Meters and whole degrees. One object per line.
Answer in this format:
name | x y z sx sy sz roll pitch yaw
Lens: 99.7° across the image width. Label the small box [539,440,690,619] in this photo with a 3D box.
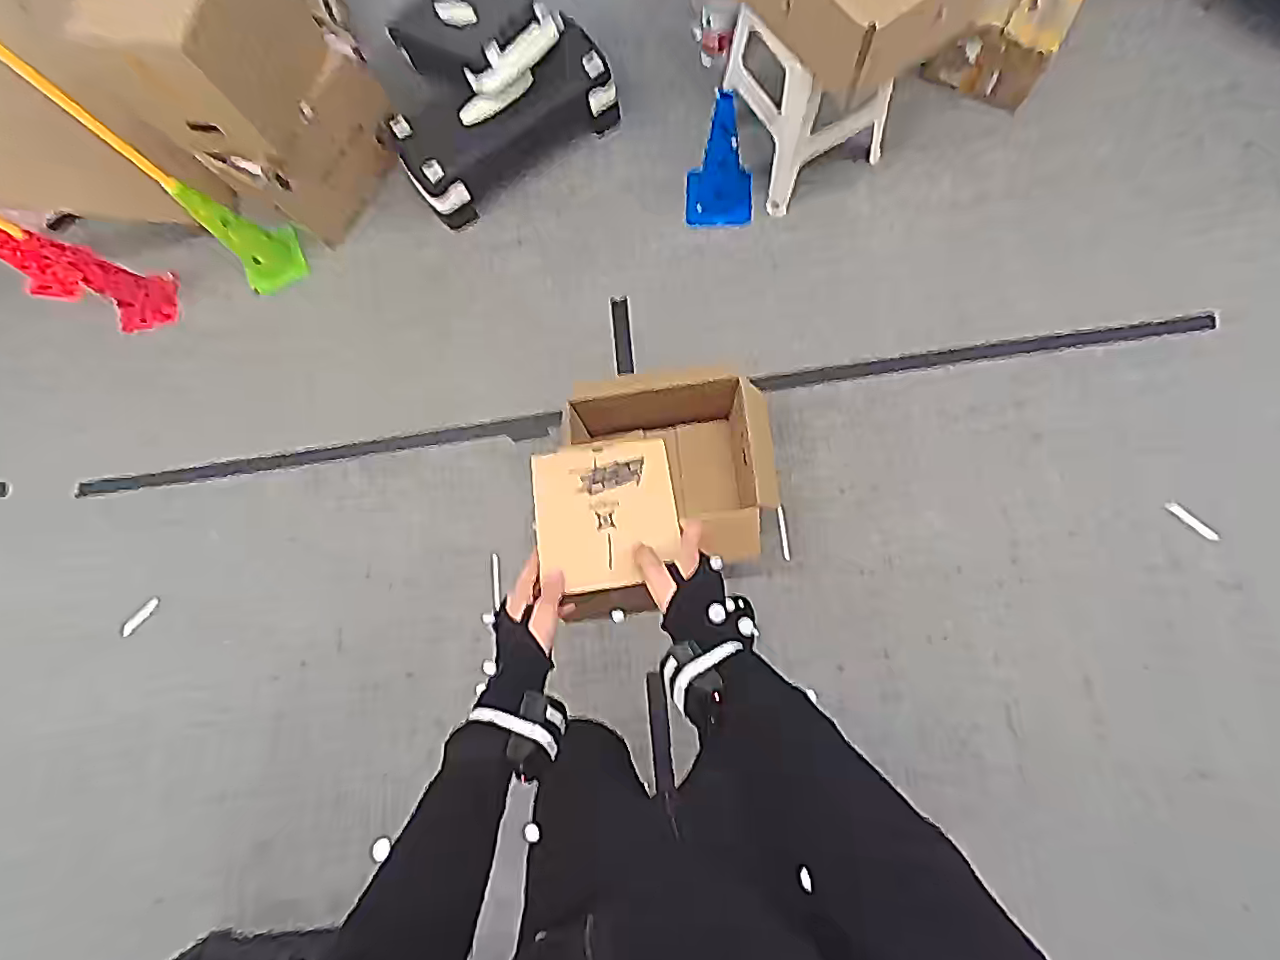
small box | -0.033 0.070 0.703 0.168 0.176 0.179 -8 66 -1
